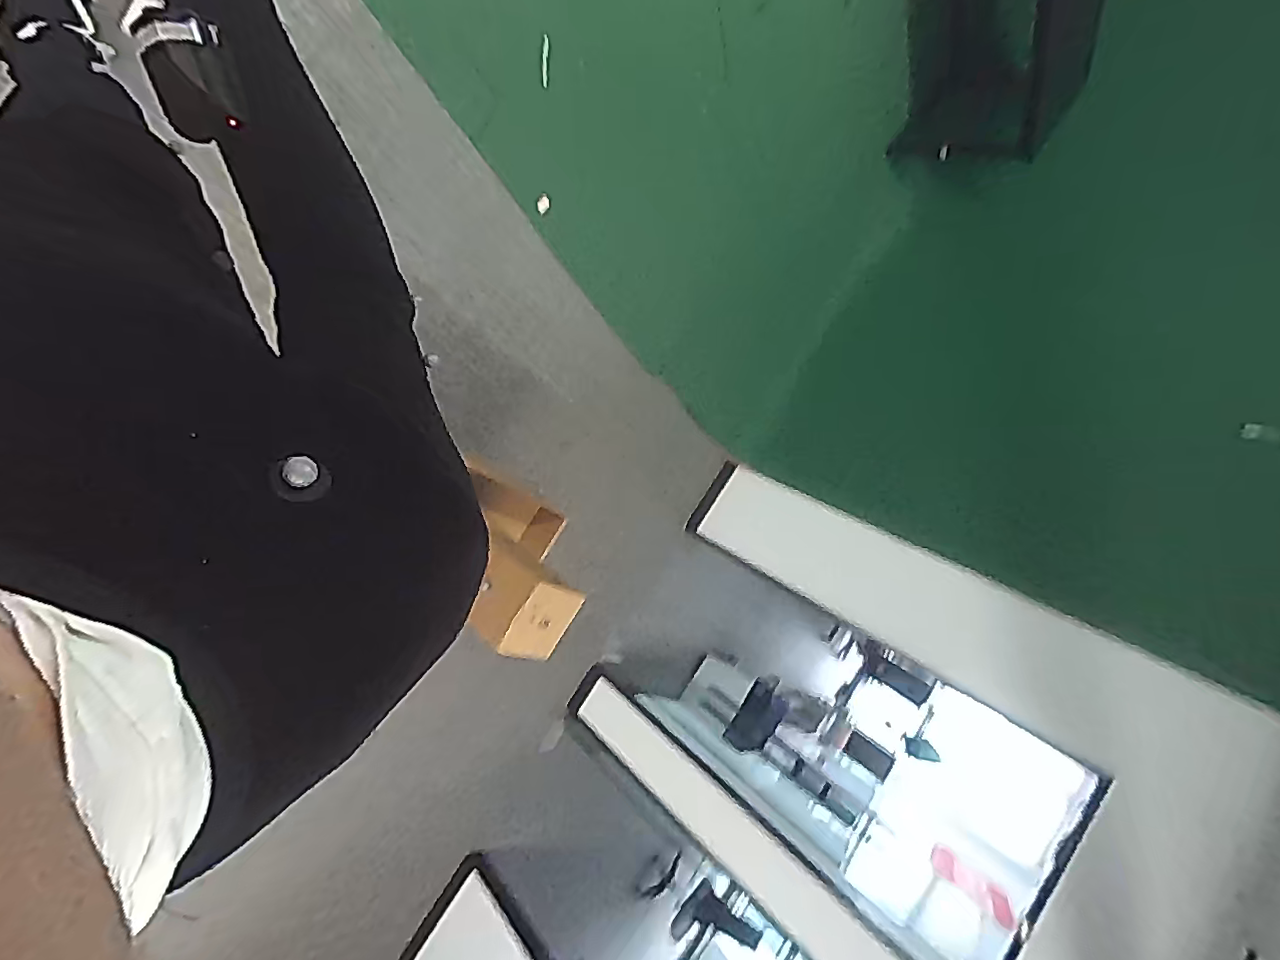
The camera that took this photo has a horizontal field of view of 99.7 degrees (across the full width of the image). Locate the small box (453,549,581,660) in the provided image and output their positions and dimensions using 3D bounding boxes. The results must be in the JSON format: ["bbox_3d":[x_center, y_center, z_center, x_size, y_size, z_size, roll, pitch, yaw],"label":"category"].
[{"bbox_3d":[-0.272,0.275,1.200,0.168,0.176,0.179,-58,144,-5],"label":"small box"}]

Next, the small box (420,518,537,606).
[{"bbox_3d":[-0.388,0.210,1.299,0.168,0.176,0.179,-56,145,-6],"label":"small box"}]
